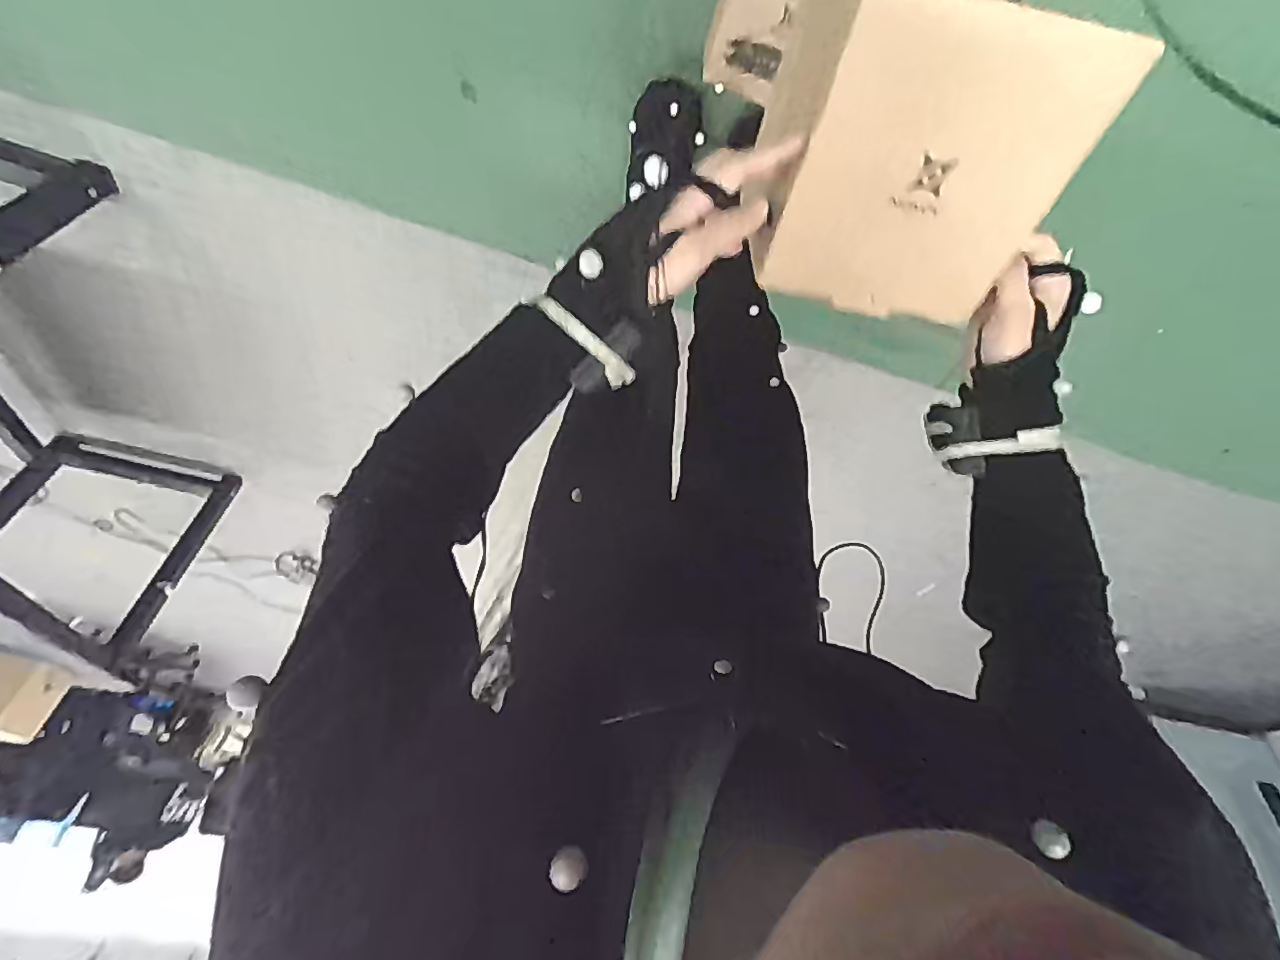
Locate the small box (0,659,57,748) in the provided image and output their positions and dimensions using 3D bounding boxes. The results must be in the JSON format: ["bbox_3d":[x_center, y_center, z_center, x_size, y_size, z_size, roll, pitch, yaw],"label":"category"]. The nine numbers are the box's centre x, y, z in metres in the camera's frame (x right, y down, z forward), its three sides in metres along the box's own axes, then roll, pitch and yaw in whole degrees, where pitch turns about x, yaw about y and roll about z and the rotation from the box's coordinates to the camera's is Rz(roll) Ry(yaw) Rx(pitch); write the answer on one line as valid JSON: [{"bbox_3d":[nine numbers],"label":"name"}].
[{"bbox_3d":[-1.612,0.533,1.315,0.179,0.176,0.168,14,141,-11],"label":"small box"}]
